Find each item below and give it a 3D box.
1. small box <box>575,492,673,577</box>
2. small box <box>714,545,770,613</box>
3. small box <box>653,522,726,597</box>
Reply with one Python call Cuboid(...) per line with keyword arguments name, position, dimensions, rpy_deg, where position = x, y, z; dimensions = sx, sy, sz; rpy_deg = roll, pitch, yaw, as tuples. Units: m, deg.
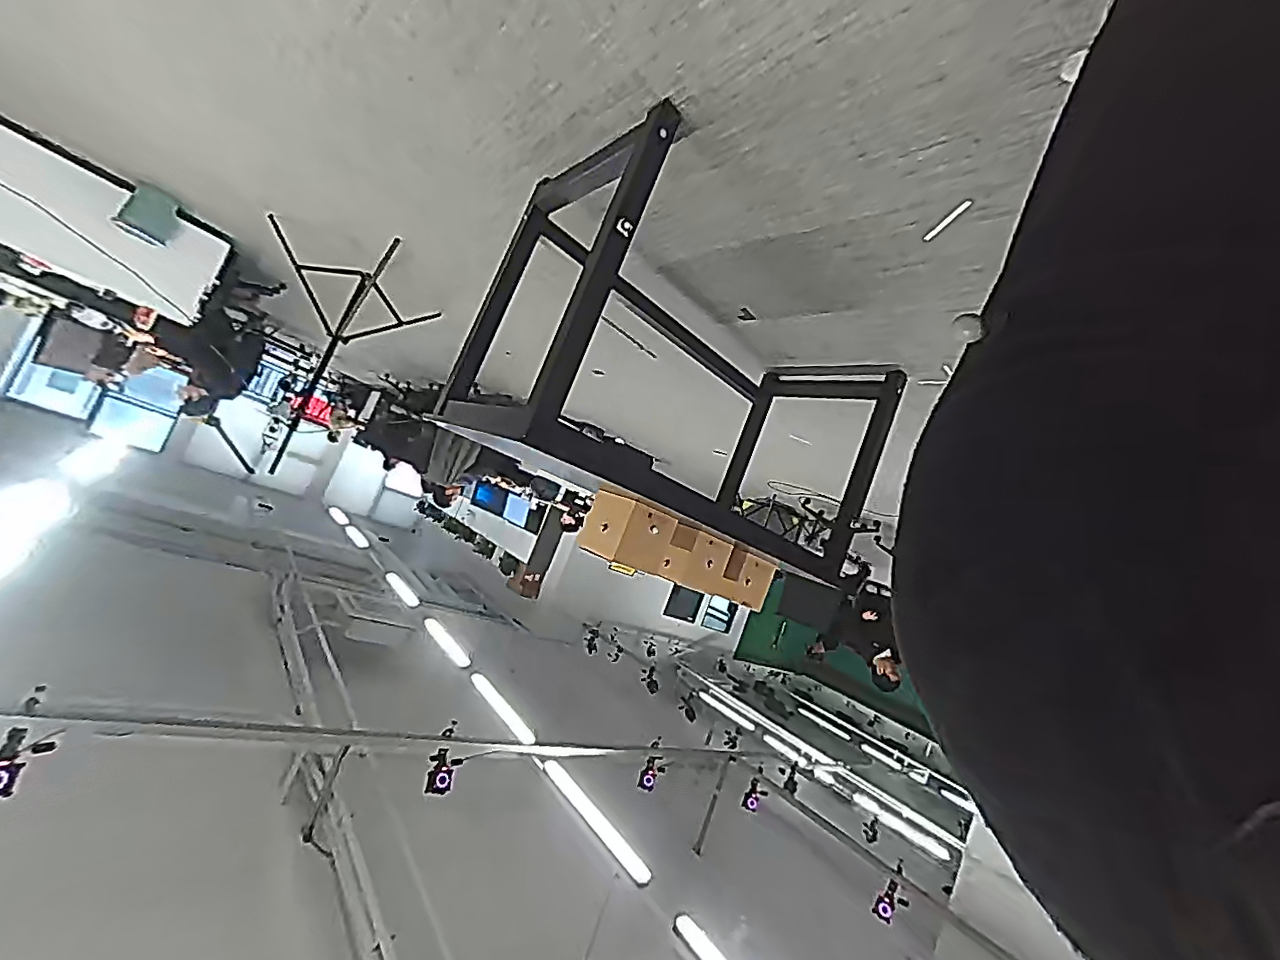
Cuboid(name="small box", position=(-0.039, 0.141, 1.462), dimensions=(0.168, 0.176, 0.179), rpy_deg=(26, 172, -39))
Cuboid(name="small box", position=(0.308, 0.315, 1.785), dimensions=(0.168, 0.176, 0.179), rpy_deg=(28, 173, -37))
Cuboid(name="small box", position=(0.140, 0.233, 1.635), dimensions=(0.168, 0.176, 0.179), rpy_deg=(27, 172, -39))
